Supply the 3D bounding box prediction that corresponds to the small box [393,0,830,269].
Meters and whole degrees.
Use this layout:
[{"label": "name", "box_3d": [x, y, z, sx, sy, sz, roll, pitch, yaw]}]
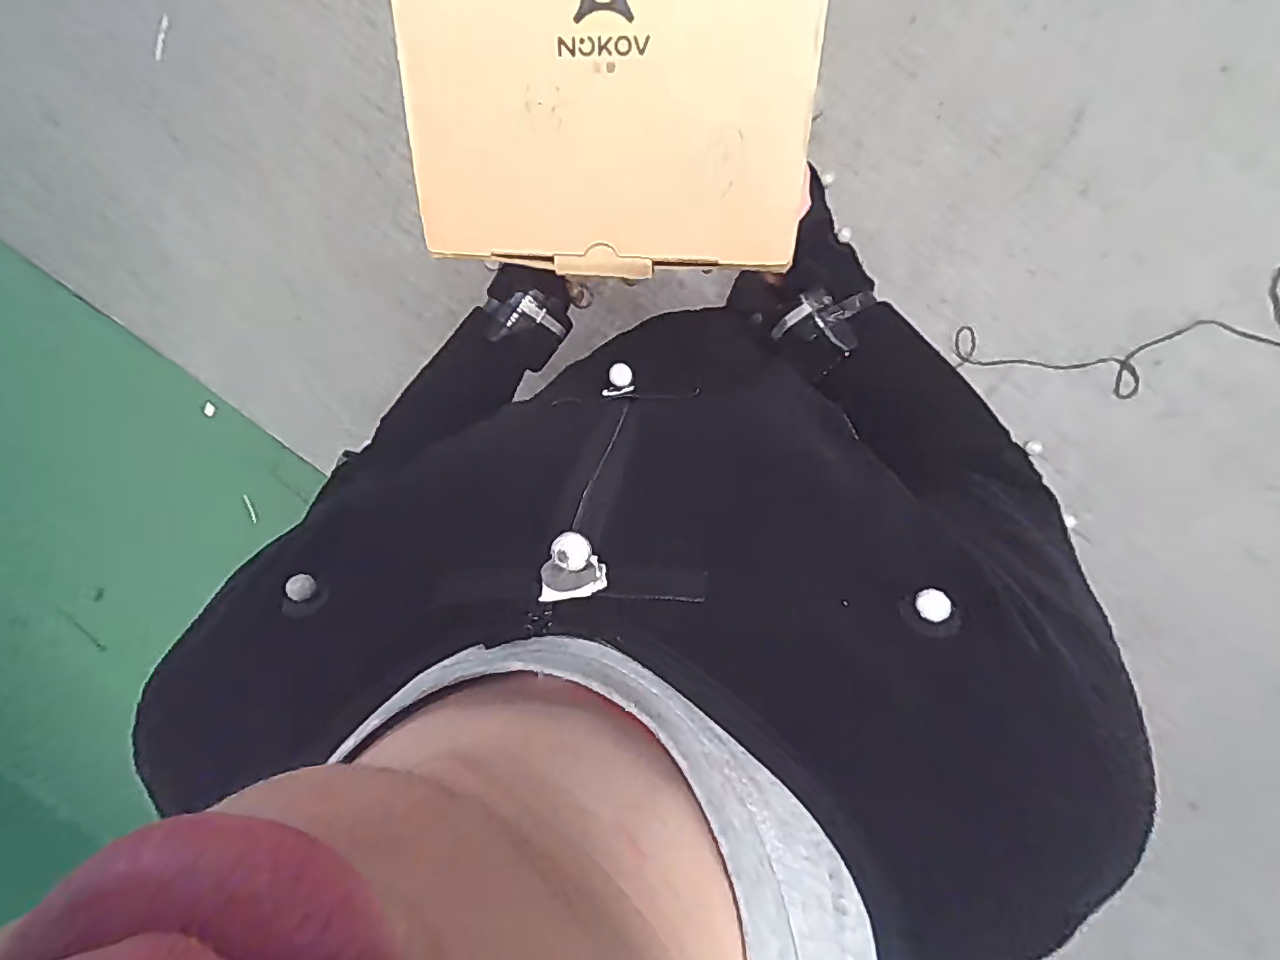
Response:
[{"label": "small box", "box_3d": [-0.001, -0.210, 0.268, 0.168, 0.176, 0.179, 5, 117, 7]}]
